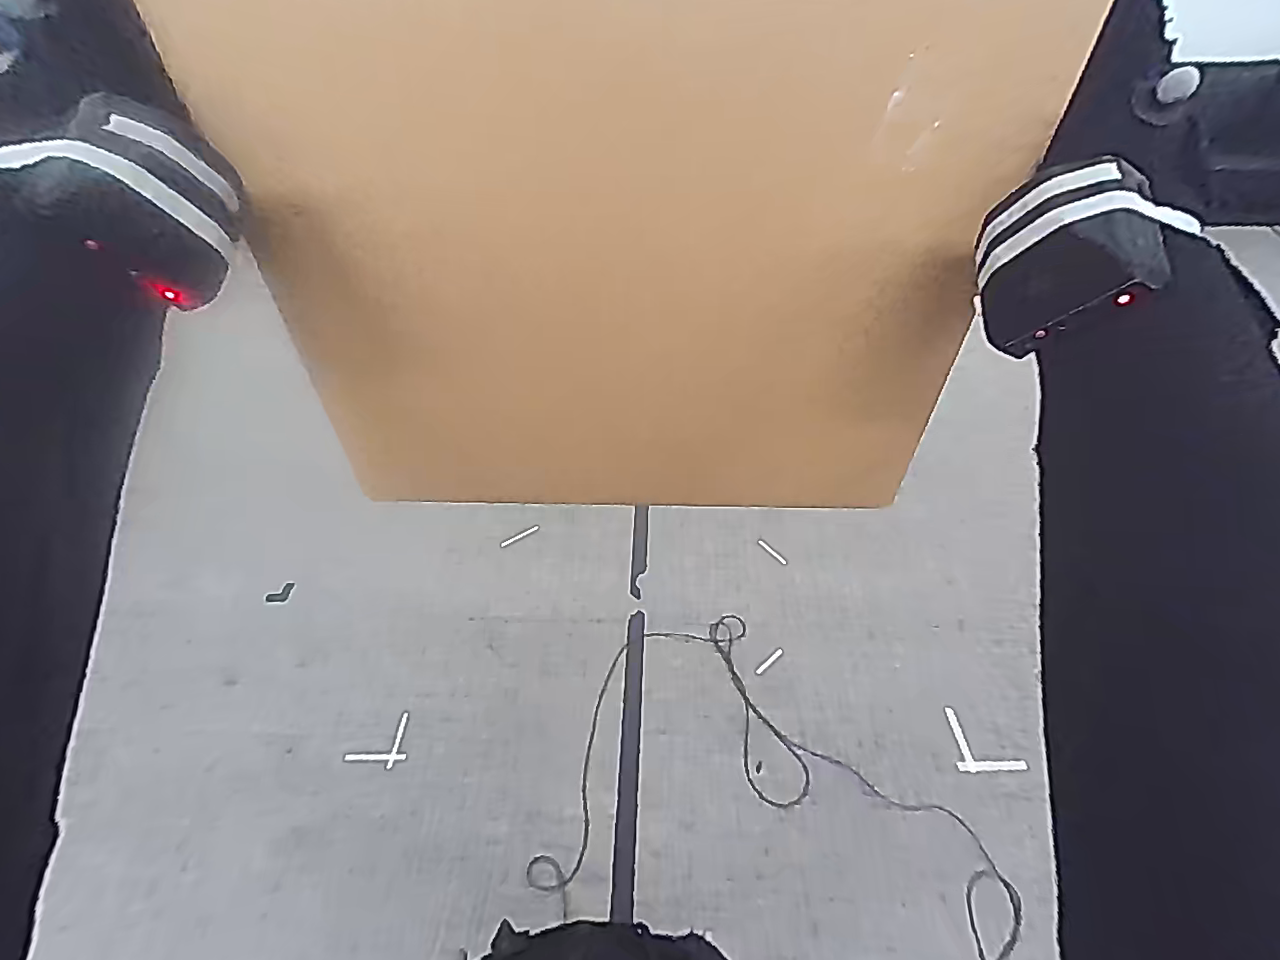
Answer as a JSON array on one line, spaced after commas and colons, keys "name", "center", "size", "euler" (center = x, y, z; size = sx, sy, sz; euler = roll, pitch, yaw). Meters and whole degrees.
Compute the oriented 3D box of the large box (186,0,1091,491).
[{"name": "large box", "center": [-0.005, -0.202, 0.431], "size": [0.408, 0.320, 0.320], "euler": [1, 42, 0]}]
